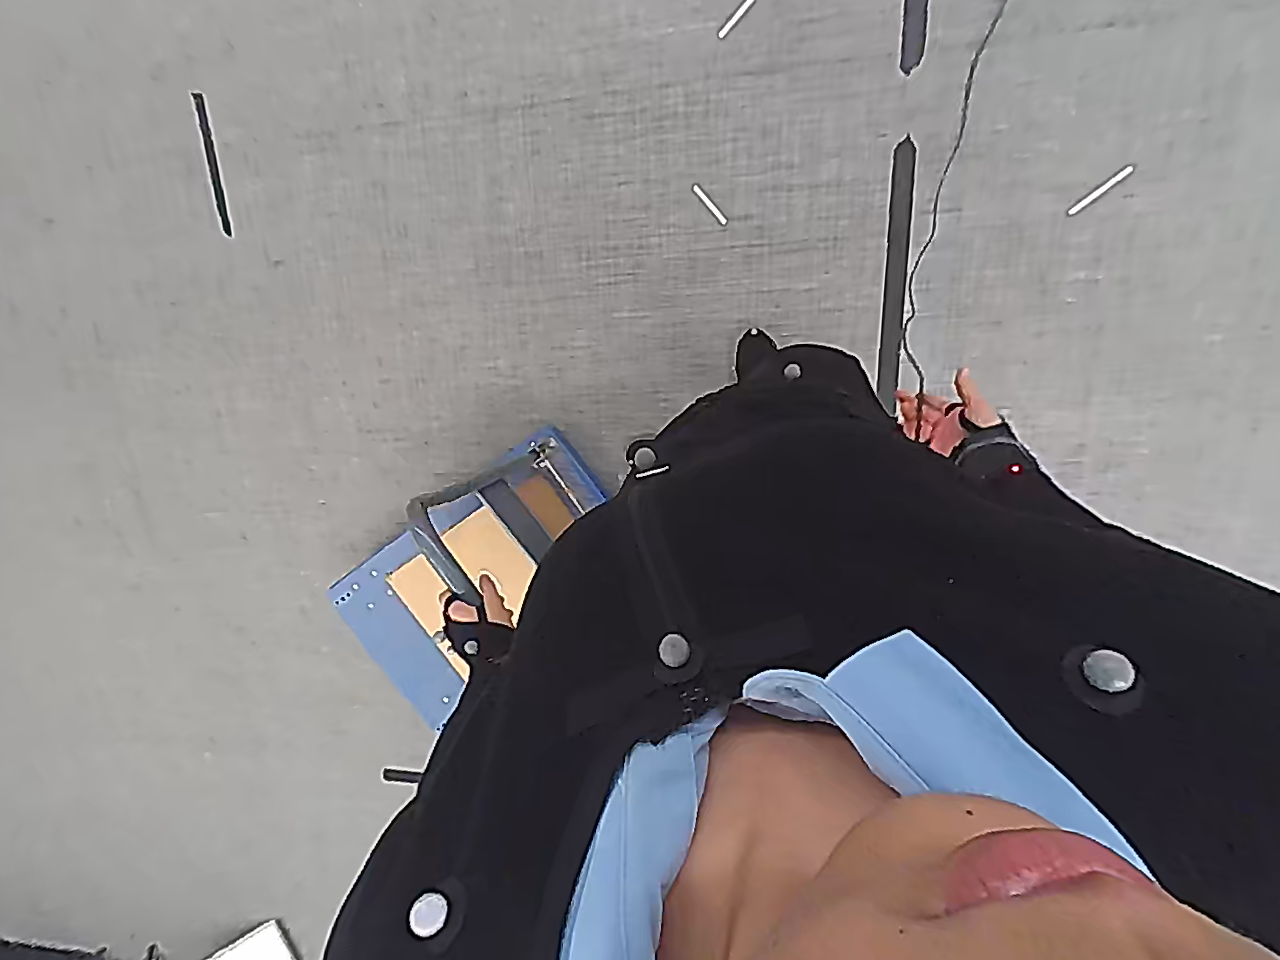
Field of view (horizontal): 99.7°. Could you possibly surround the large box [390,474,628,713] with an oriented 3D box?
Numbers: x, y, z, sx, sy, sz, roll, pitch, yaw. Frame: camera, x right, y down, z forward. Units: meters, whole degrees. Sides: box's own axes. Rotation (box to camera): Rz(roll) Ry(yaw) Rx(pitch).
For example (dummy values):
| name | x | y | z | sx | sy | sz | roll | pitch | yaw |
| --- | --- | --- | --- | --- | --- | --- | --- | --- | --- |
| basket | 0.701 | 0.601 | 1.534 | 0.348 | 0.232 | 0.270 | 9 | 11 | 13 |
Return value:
| name | x | y | z | sx | sy | sz | roll | pitch | yaw |
| --- | --- | --- | --- | --- | --- | --- | --- | --- | --- |
| large box | -0.286 | 0.254 | 1.299 | 0.320 | 0.320 | 0.408 | -34 | 94 | 14 |
